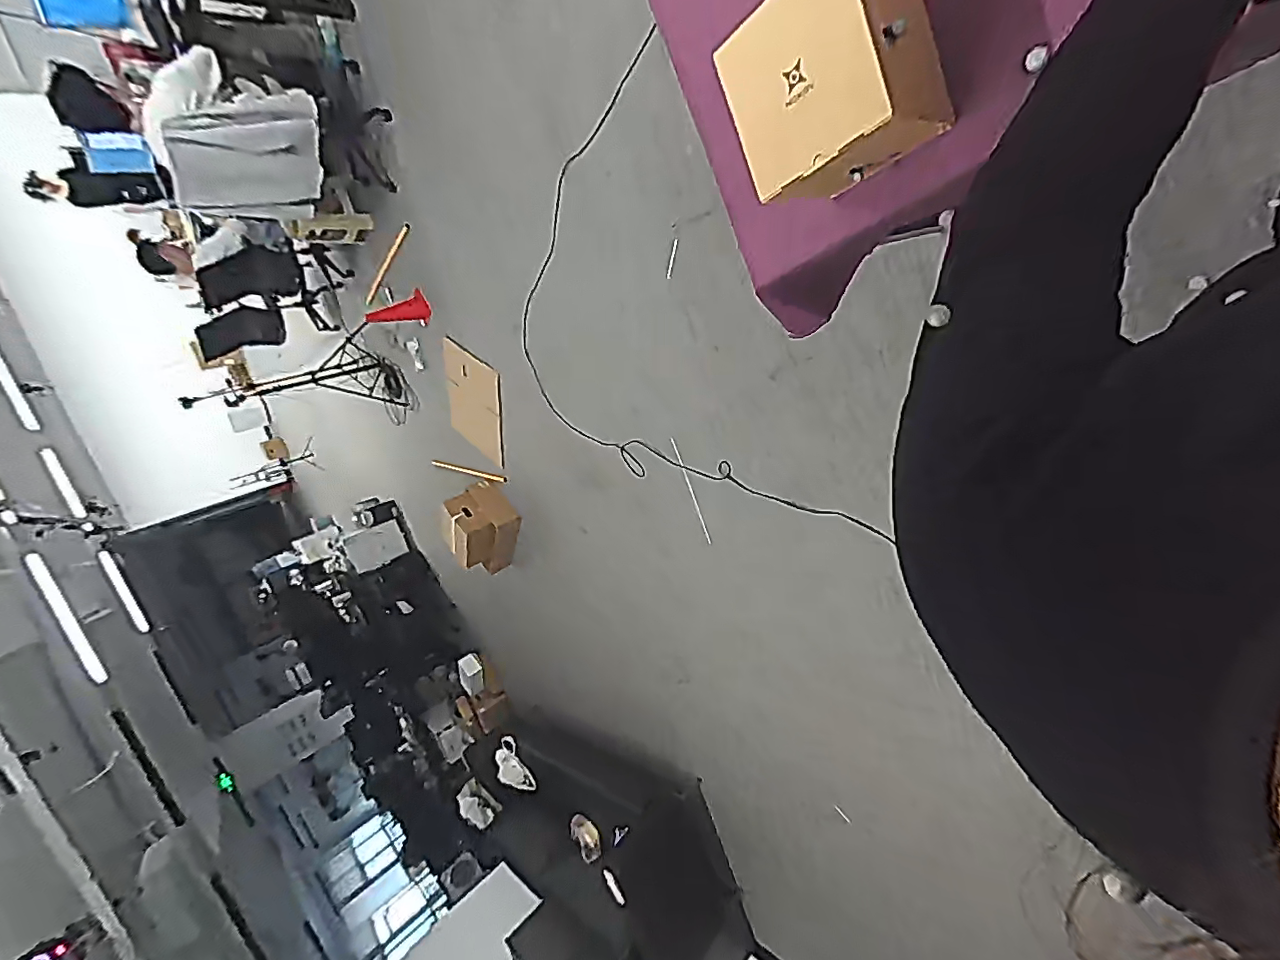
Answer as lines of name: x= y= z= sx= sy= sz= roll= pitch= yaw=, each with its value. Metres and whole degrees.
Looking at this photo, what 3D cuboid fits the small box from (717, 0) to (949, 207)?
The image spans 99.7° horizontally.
small box: x=0.224 y=-0.442 z=0.623 sx=0.168 sy=0.176 sz=0.179 roll=-12 pitch=103 yaw=51
